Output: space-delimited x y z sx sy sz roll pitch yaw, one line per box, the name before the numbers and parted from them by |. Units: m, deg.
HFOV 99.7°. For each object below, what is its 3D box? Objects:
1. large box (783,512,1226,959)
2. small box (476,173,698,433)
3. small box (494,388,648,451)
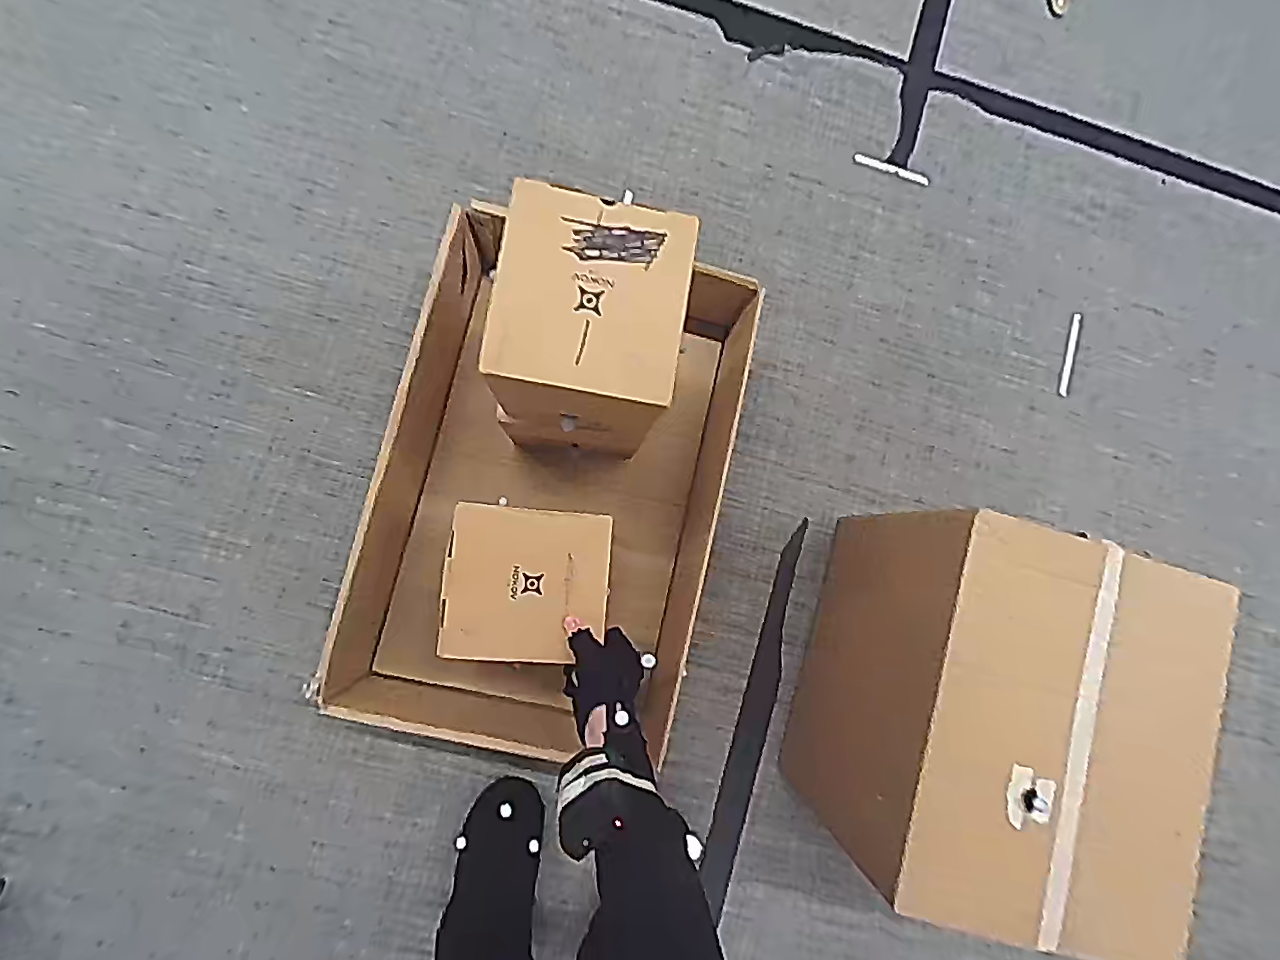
large box | 0.420 0.271 0.694 0.320 0.320 0.408 16 84 -4
small box | -0.051 -0.156 0.537 0.168 0.176 0.179 10 85 -5
small box | -0.080 -0.133 0.699 0.179 0.176 0.168 6 85 -6
